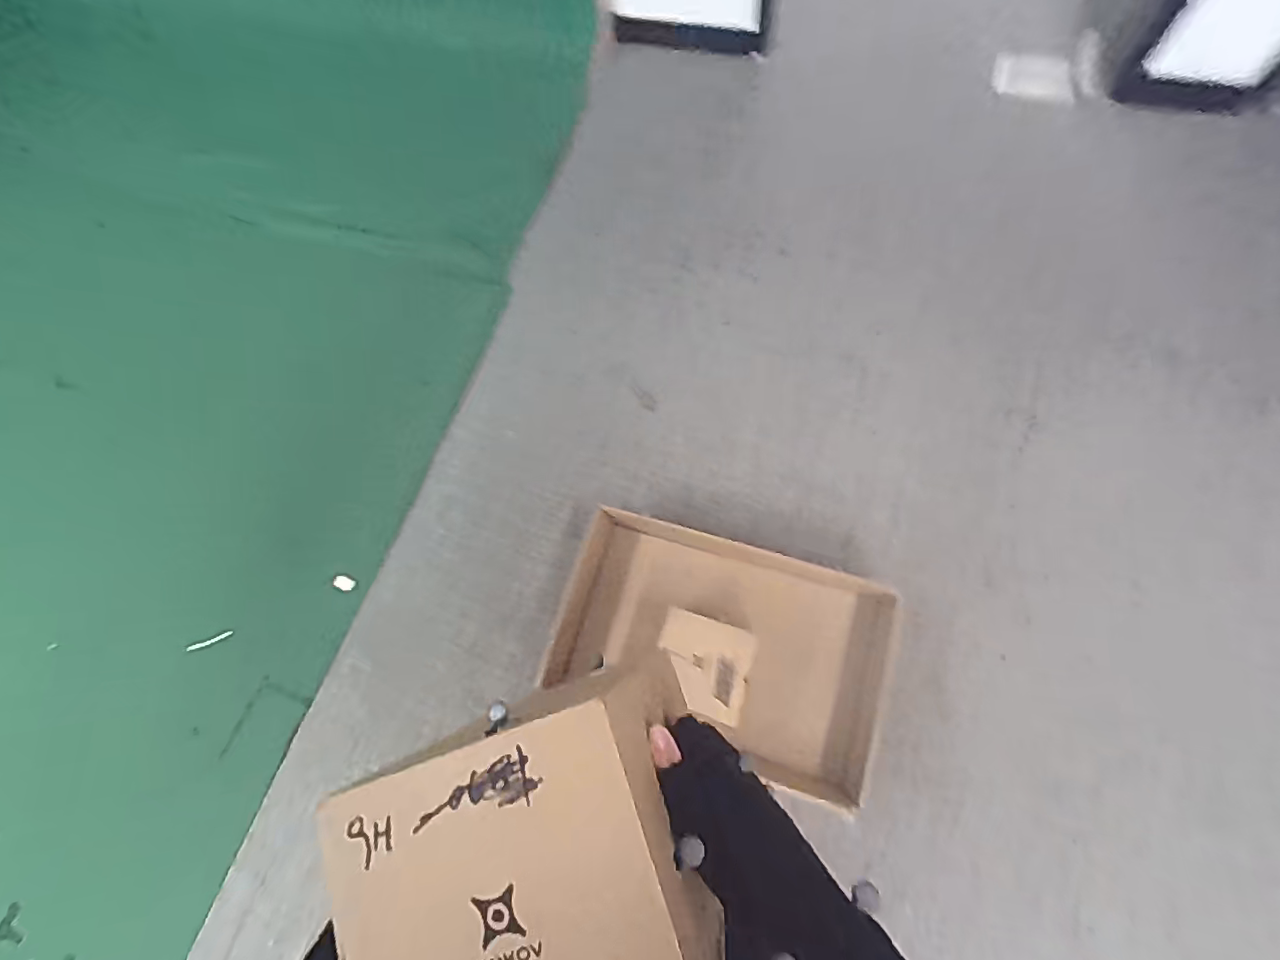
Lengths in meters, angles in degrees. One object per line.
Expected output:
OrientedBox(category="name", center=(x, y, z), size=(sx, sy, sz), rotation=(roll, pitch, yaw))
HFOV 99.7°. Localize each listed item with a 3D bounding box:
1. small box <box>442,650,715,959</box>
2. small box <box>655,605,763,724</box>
OrientedBox(category="small box", center=(-0.040, 0.273, 0.489), size=(0.168, 0.176, 0.179), rotation=(-27, 75, 3))
OrientedBox(category="small box", center=(0.134, 0.358, 1.071), size=(0.179, 0.176, 0.168), rotation=(16, 76, 15))
